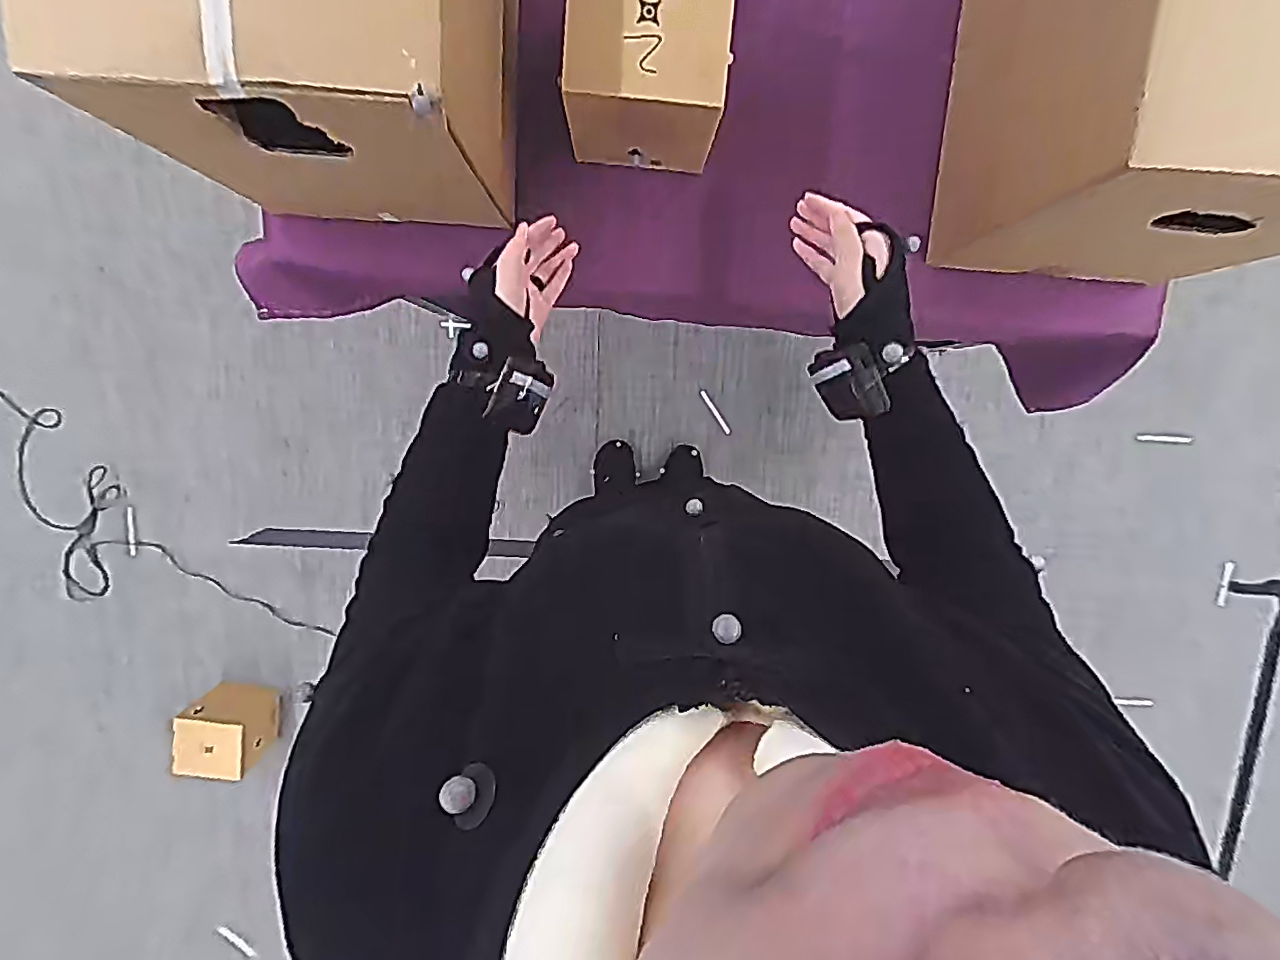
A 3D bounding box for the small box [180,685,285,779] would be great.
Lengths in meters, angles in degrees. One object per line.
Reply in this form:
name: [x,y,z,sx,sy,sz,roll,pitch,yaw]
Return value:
small box: [-1.121,0.692,1.498,0.179,0.176,0.168,8,99,-3]
